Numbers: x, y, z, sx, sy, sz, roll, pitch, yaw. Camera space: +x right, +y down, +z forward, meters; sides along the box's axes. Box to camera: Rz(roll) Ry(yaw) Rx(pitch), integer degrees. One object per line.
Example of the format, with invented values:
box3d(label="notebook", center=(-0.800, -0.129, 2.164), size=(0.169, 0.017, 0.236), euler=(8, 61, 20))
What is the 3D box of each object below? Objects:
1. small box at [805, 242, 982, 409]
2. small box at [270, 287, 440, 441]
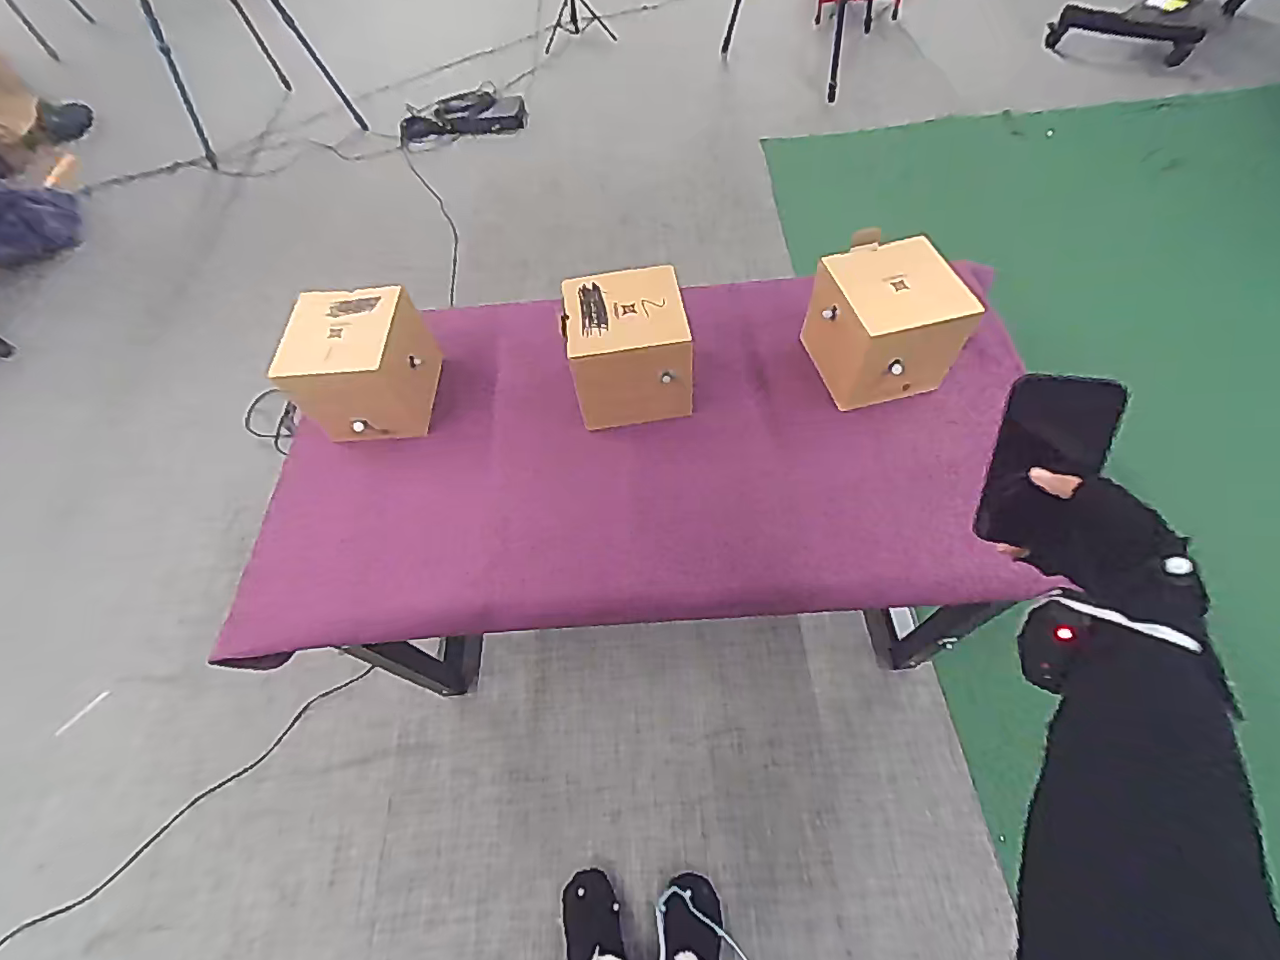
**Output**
box3d(label="small box", center=(0.373, -0.228, 0.835), size=(0.168, 0.176, 0.179), euler=(-13, 58, -3))
box3d(label="small box", center=(-0.439, -0.182, 0.870), size=(0.168, 0.176, 0.179), euler=(-3, 60, 3))
